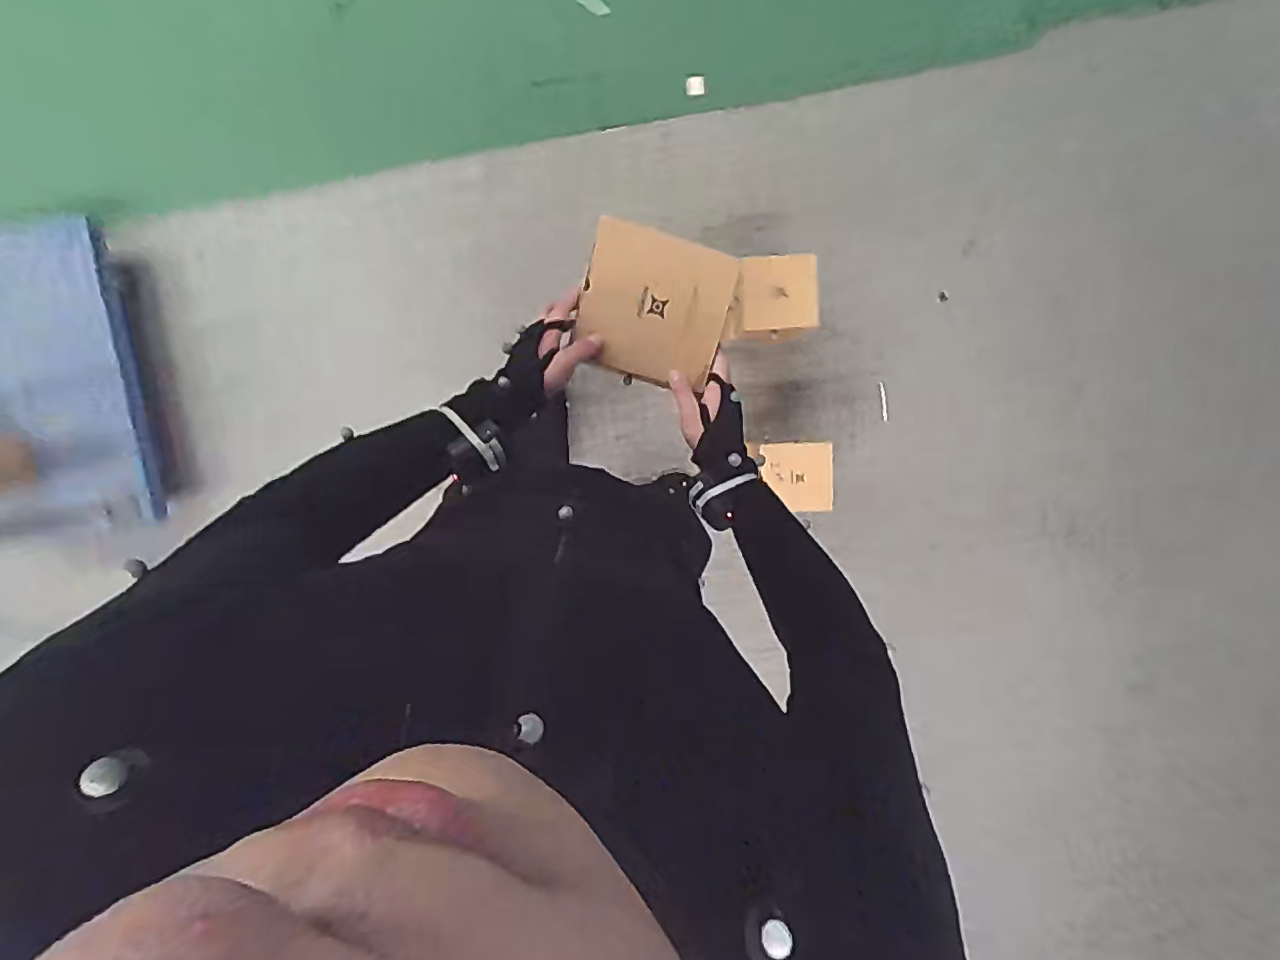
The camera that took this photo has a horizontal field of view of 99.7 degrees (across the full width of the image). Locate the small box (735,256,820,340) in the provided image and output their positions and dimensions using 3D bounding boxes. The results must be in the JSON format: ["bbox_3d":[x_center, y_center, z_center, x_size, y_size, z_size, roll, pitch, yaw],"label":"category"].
[{"bbox_3d":[0.332,-0.441,1.328,0.179,0.176,0.168,-2,97,3],"label":"small box"}]

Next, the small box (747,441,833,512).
[{"bbox_3d":[0.375,-0.013,1.369,0.179,0.176,0.168,0,95,3],"label":"small box"}]

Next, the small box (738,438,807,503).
[{"bbox_3d":[0.373,-0.030,1.534,0.179,0.176,0.168,-5,96,4],"label":"small box"}]

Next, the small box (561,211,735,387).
[{"bbox_3d":[0.001,-0.224,0.718,0.179,0.176,0.168,14,98,-8],"label":"small box"}]

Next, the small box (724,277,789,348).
[{"bbox_3d":[0.326,-0.464,1.506,0.179,0.176,0.168,-2,97,2],"label":"small box"}]
